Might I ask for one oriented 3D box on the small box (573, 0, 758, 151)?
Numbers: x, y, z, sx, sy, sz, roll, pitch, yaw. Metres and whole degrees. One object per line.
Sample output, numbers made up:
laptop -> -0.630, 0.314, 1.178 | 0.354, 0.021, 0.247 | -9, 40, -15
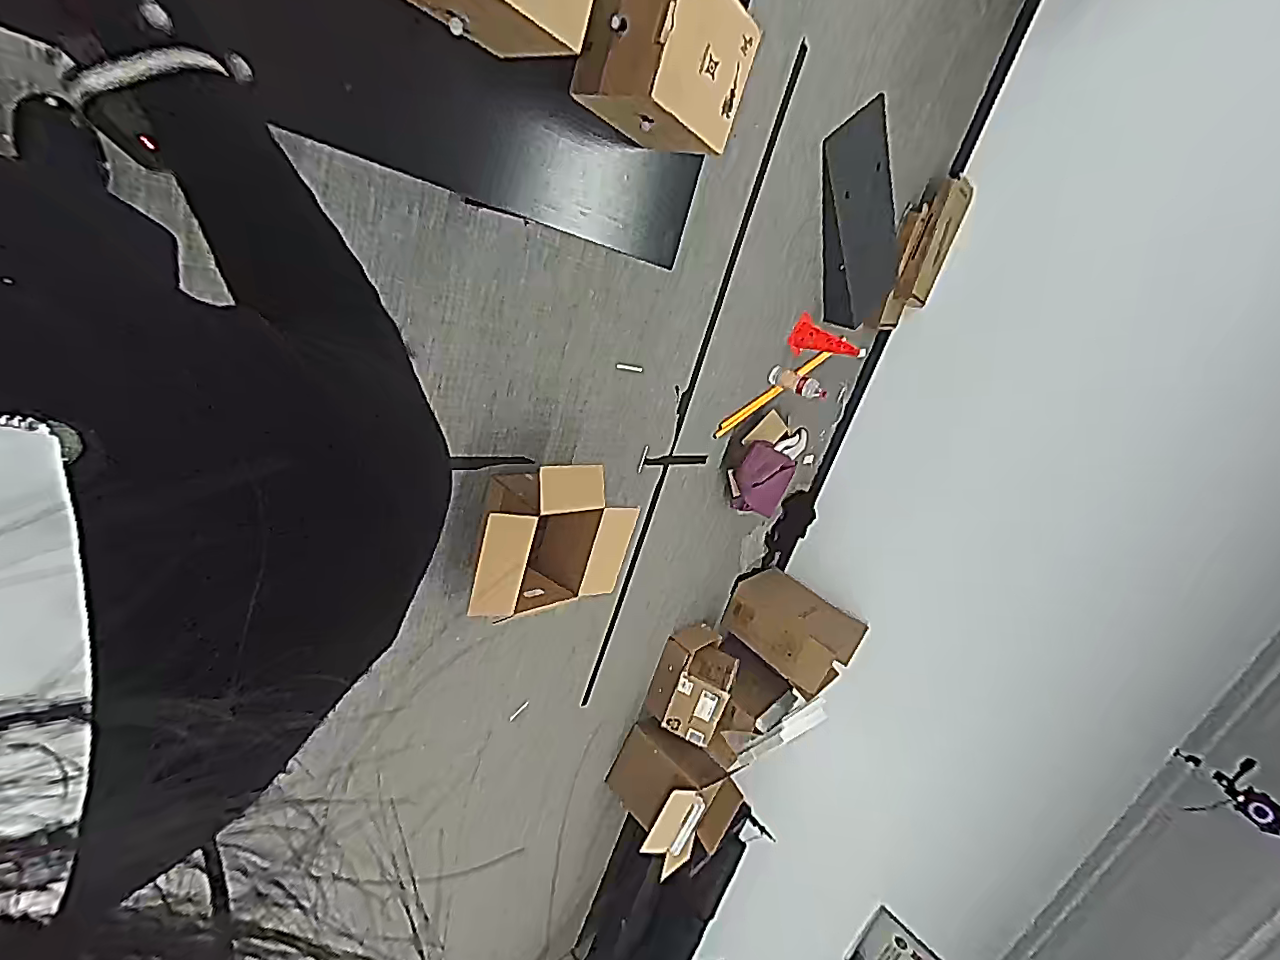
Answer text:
small box -> 0.031, -0.596, 0.772 | 0.179, 0.176, 0.168 | -1, 116, -49

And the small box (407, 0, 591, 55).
small box -> -0.154, -0.582, 0.560 | 0.168, 0.176, 0.179 | -5, 120, -48
